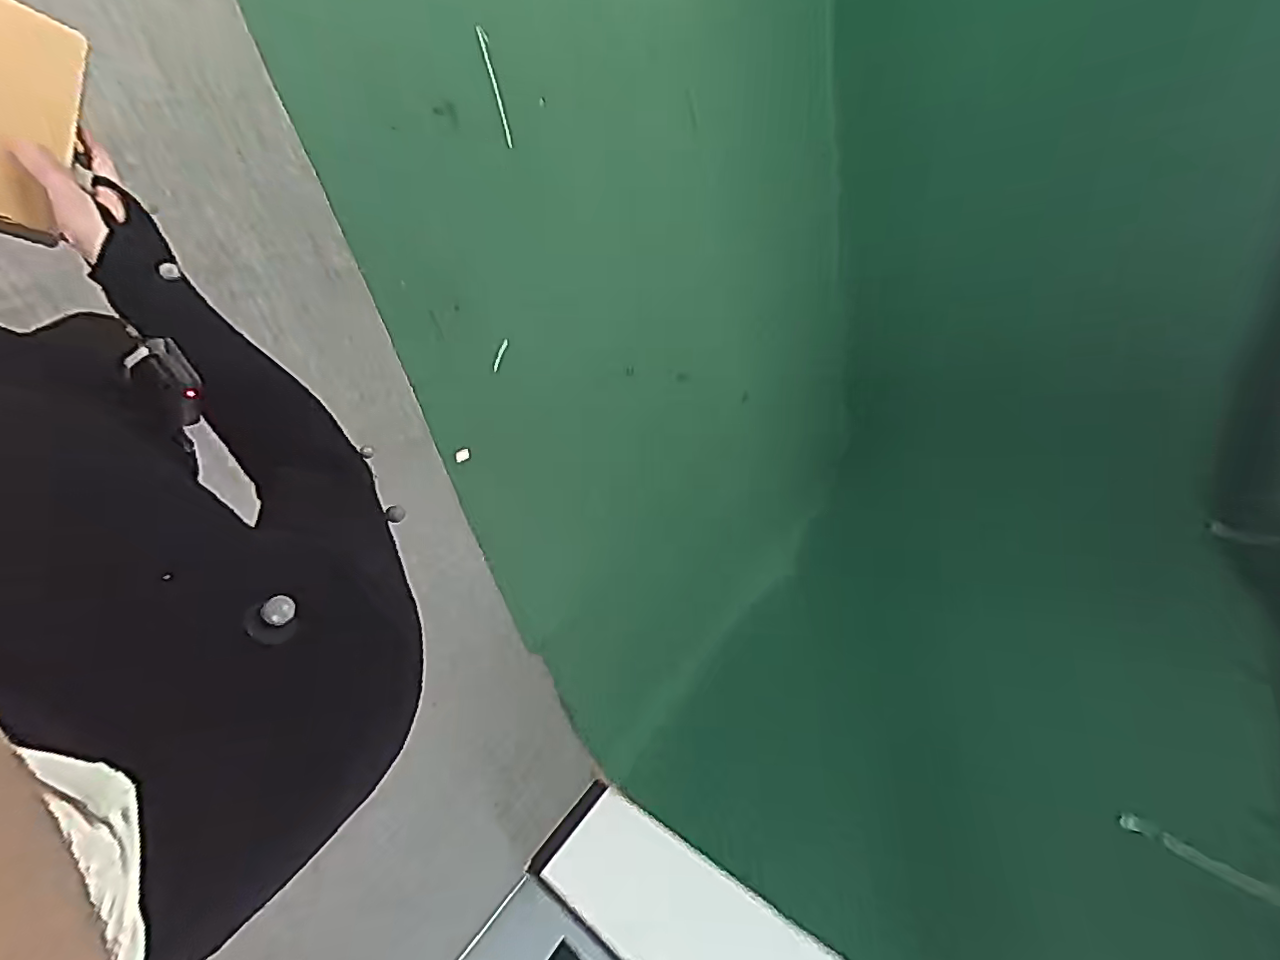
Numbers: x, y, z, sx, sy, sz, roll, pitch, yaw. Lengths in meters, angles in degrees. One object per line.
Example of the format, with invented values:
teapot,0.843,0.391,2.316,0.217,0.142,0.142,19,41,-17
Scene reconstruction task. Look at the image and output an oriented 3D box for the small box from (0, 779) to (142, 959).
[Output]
small box,-0.972,0.636,0.882,0.168,0.176,0.179,-38,126,-38
